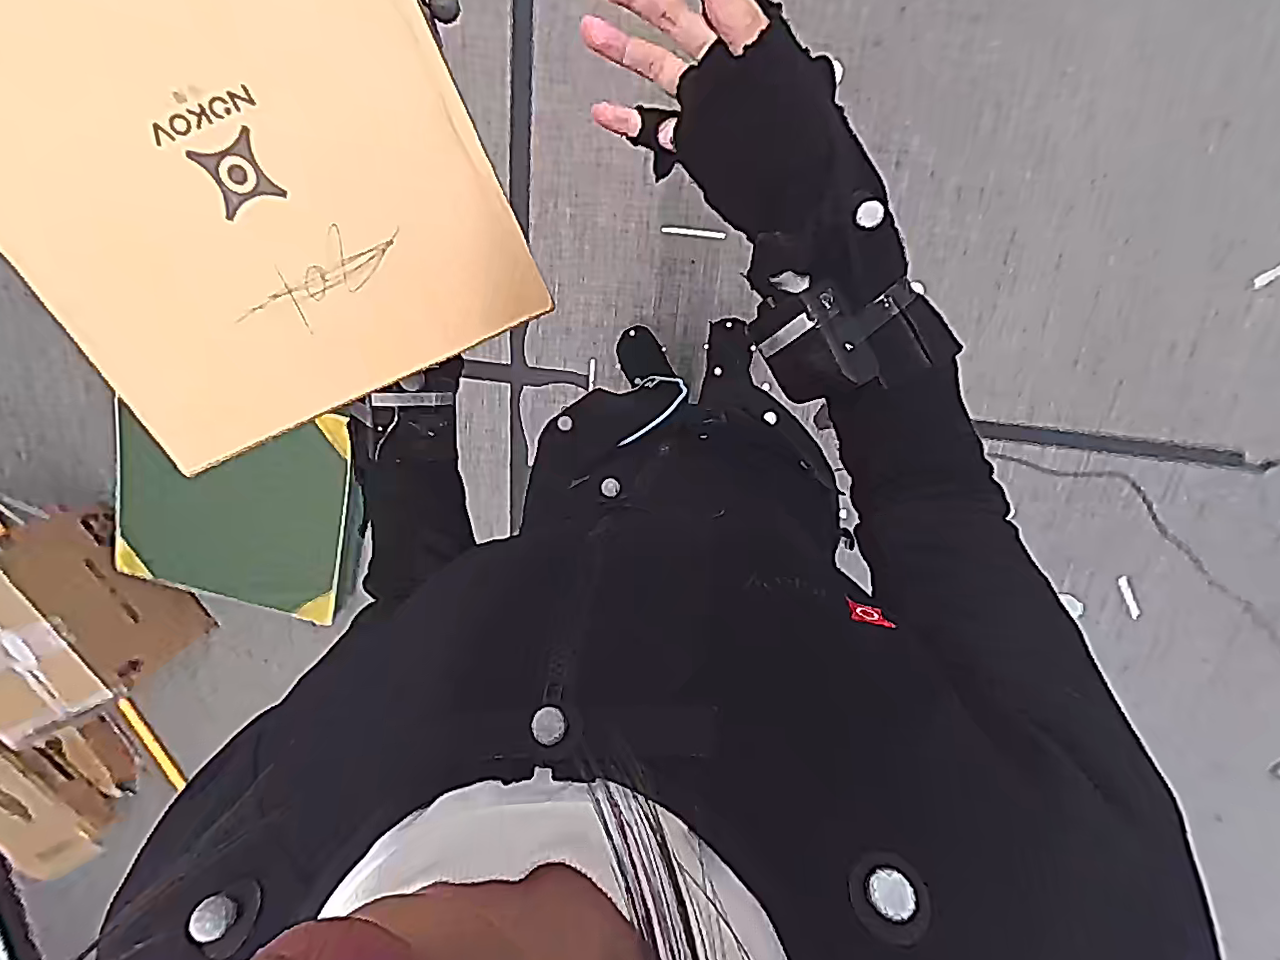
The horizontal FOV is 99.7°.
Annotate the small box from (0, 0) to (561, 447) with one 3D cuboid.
[{"bbox_3d":[-0.153,-0.144,0.274,0.168,0.176,0.179,-24,113,-1],"label":"small box"}]
